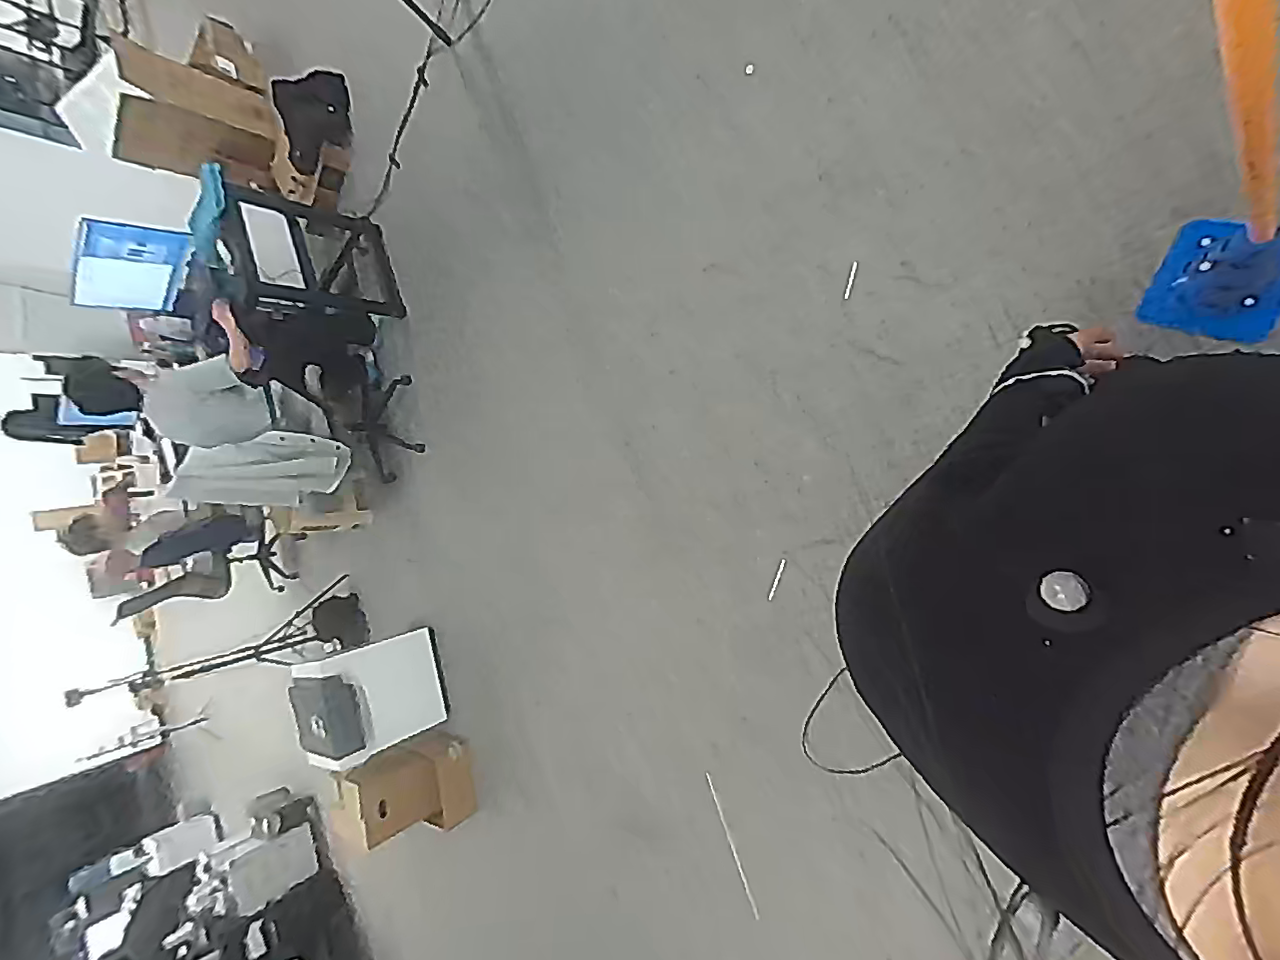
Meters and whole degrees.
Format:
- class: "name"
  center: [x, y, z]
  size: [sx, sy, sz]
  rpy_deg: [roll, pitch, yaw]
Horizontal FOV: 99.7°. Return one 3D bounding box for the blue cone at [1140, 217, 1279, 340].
- class: "blue cone"
  center: [0.986, -0.355, 0.897]
  size: [0.193, 0.380, 0.192]
  rpy_deg: [29, 113, 36]
